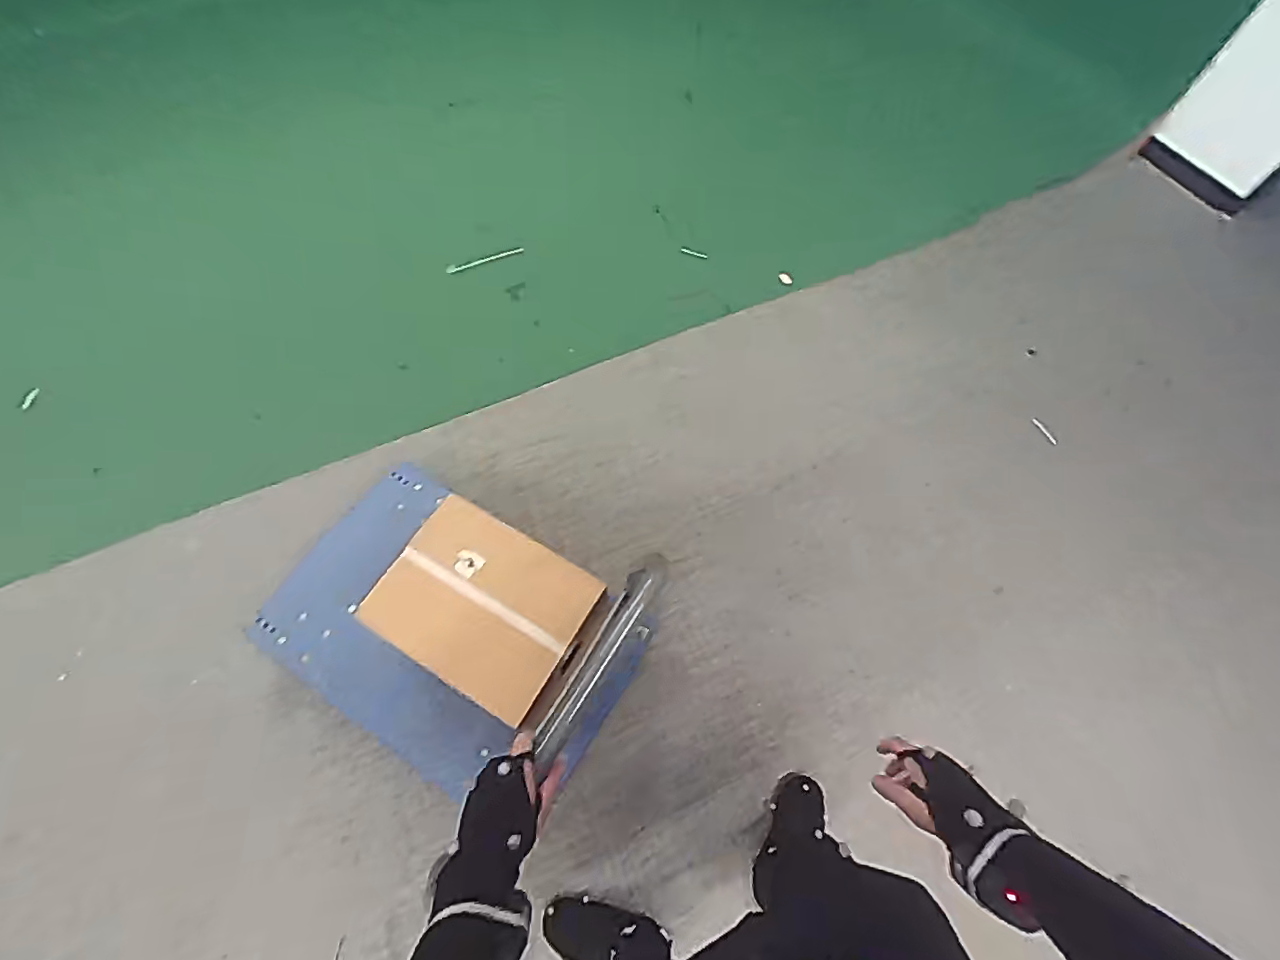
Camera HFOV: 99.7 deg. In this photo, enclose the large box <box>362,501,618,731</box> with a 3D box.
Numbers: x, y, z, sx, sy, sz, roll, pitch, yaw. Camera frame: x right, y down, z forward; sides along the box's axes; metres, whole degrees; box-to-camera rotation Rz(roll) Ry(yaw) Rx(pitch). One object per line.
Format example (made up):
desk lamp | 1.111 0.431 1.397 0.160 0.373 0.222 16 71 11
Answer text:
large box | -0.299 0.314 1.207 0.408 0.320 0.320 28 67 13
